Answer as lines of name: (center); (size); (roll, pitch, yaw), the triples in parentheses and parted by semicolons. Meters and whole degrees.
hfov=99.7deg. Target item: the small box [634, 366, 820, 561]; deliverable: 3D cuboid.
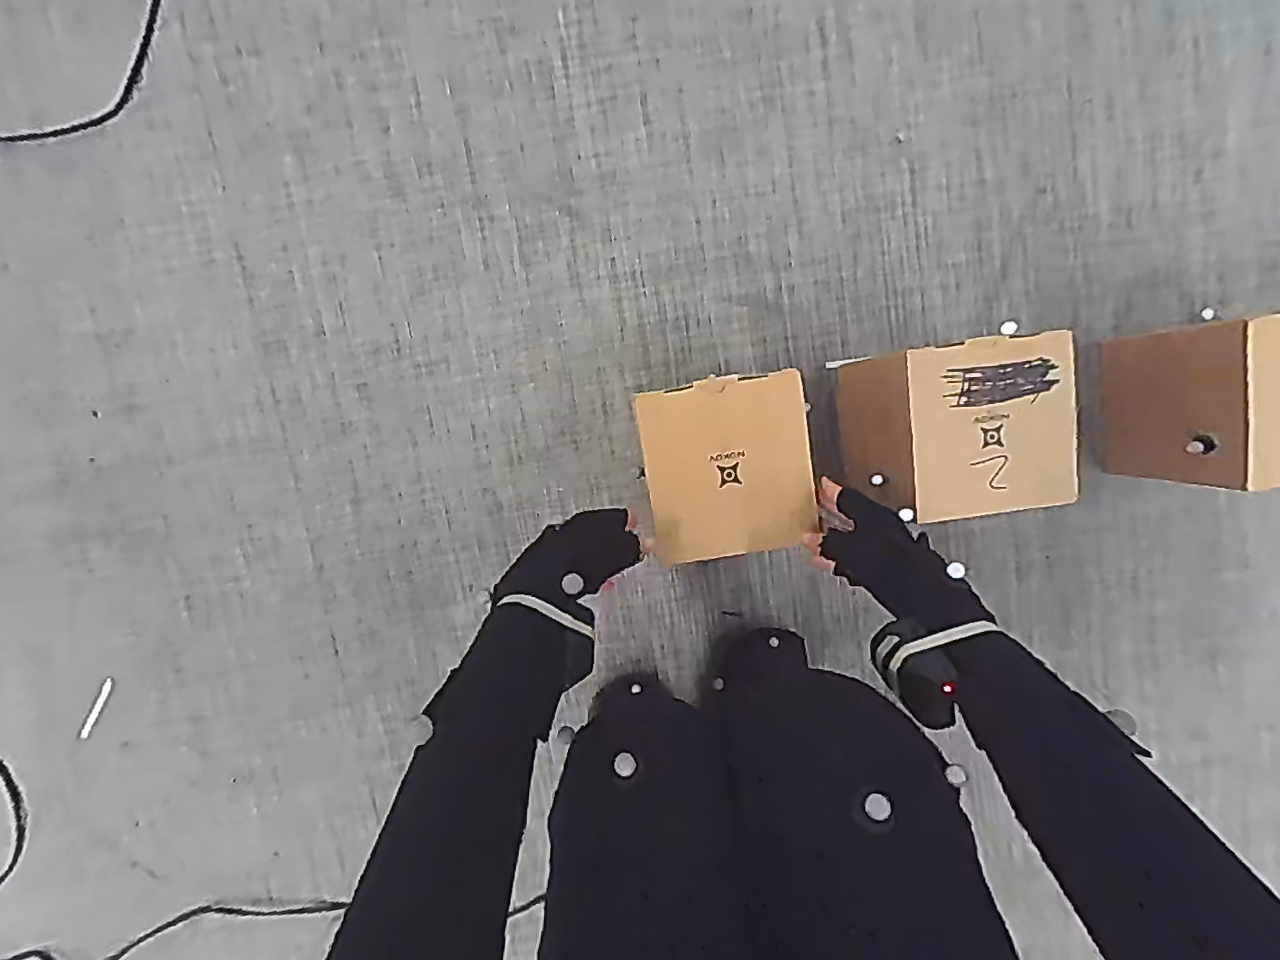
small box: (0.088, -0.024, 0.610); (0.168, 0.176, 0.179); (-9, 97, 1)

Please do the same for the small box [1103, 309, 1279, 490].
small box: (0.673, -0.096, 0.610); (0.168, 0.176, 0.179); (-9, 97, 0)
